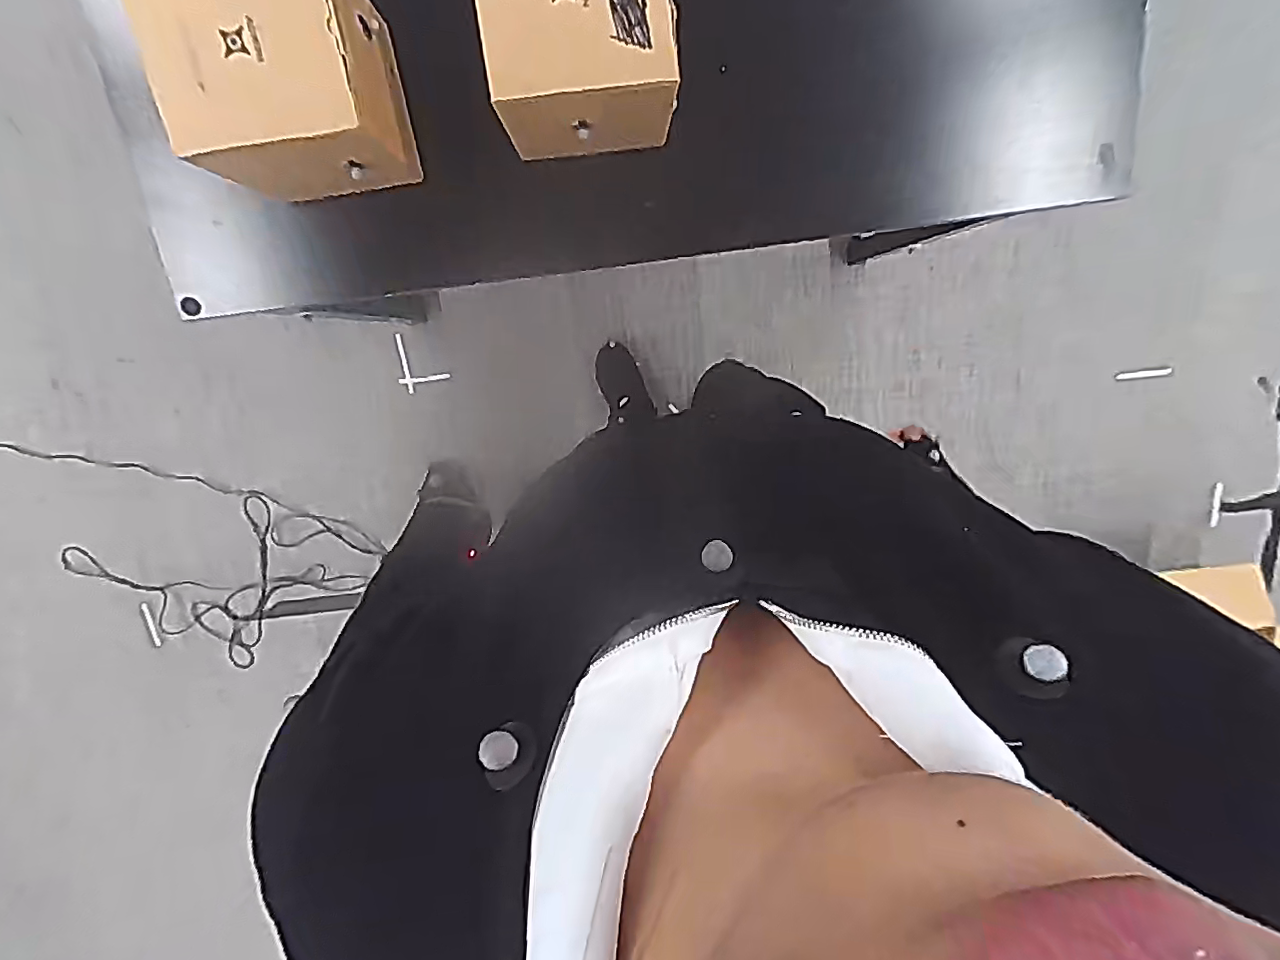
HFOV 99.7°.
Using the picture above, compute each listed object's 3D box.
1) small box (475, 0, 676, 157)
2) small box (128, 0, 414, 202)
[{"bbox_3d":[-0.063,-0.455,0.555,0.179,0.176,0.168,-6,104,0],"label":"small box"},{"bbox_3d":[-0.354,-0.406,0.557,0.179,0.176,0.168,-10,103,1],"label":"small box"}]
